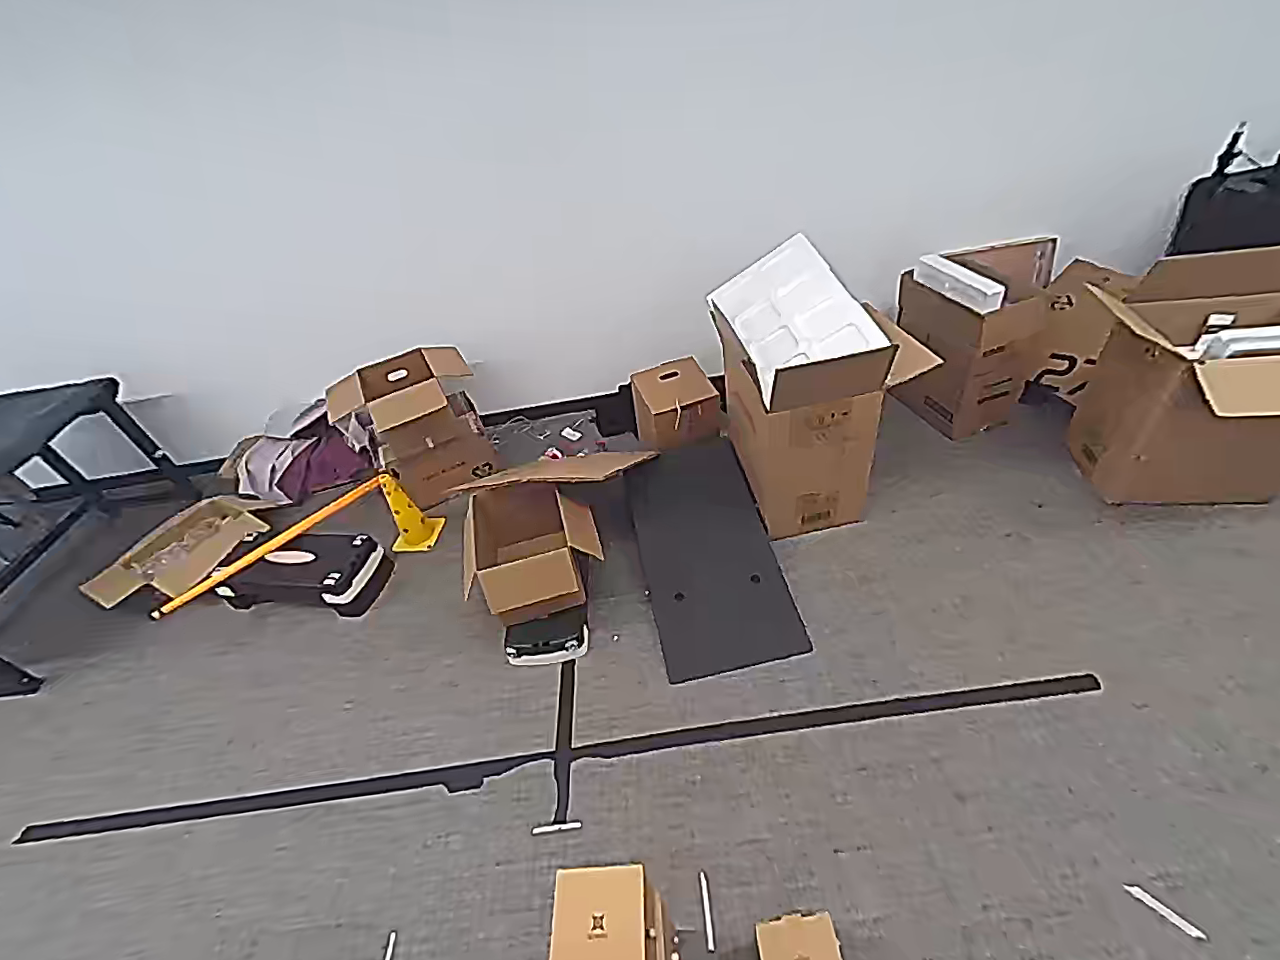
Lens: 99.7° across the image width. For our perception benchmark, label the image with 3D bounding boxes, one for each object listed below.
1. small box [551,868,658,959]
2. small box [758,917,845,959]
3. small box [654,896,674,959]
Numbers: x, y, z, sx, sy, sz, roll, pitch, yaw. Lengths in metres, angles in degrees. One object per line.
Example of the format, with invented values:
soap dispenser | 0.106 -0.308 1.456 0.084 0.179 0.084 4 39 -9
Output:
small box | -0.058 0.833 0.978 0.168 0.176 0.179 -7 41 4
small box | 0.348 1.056 1.137 0.168 0.176 0.179 -11 41 3
small box | -0.025 0.959 1.077 0.179 0.176 0.168 -8 40 2
